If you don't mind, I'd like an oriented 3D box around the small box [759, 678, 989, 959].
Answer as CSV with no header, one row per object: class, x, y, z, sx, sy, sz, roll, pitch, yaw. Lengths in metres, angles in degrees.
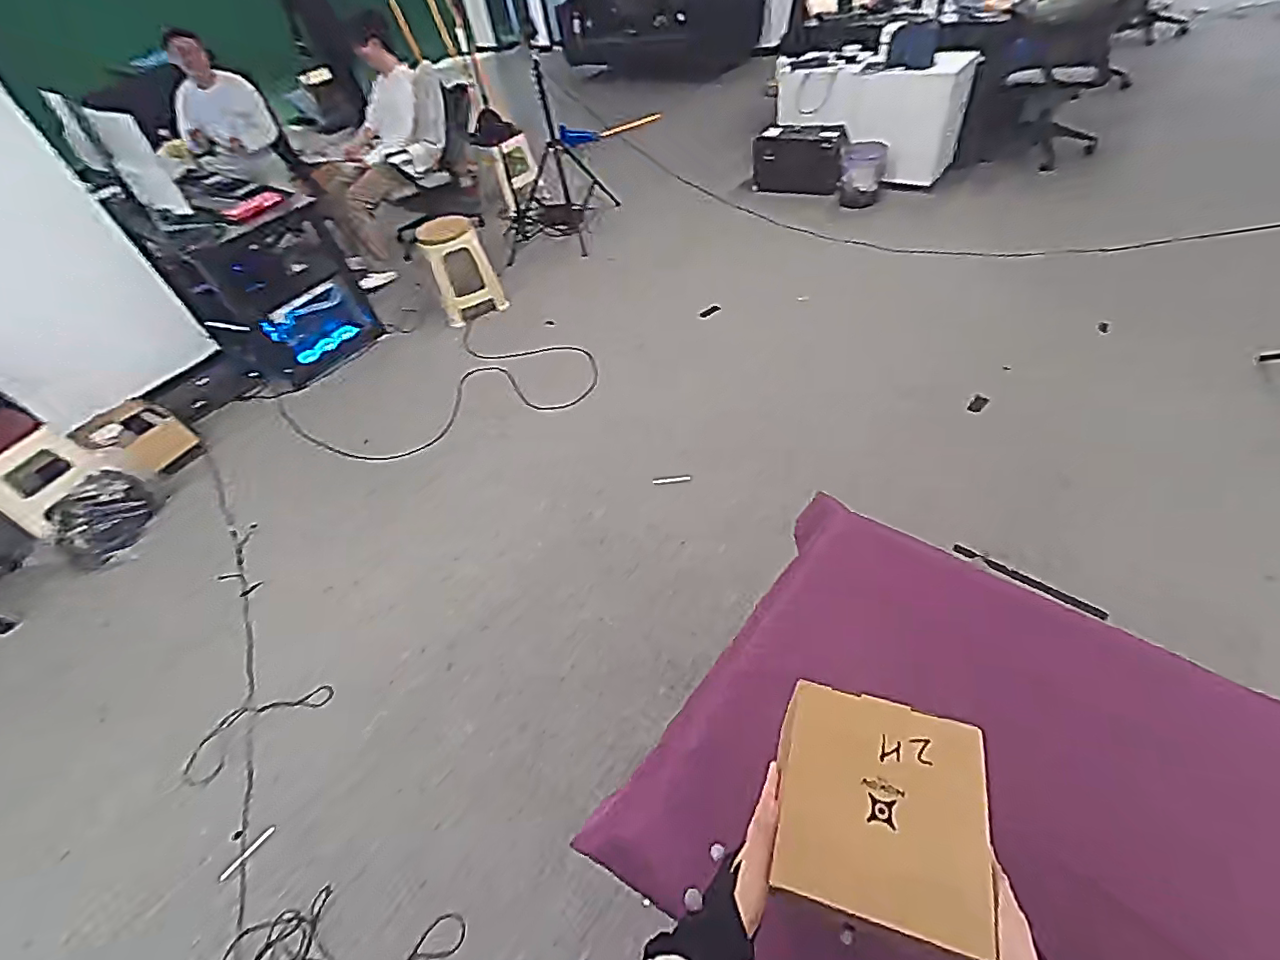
small box,0.214,0.327,0.528,0.168,0.176,0.179,10,51,15
